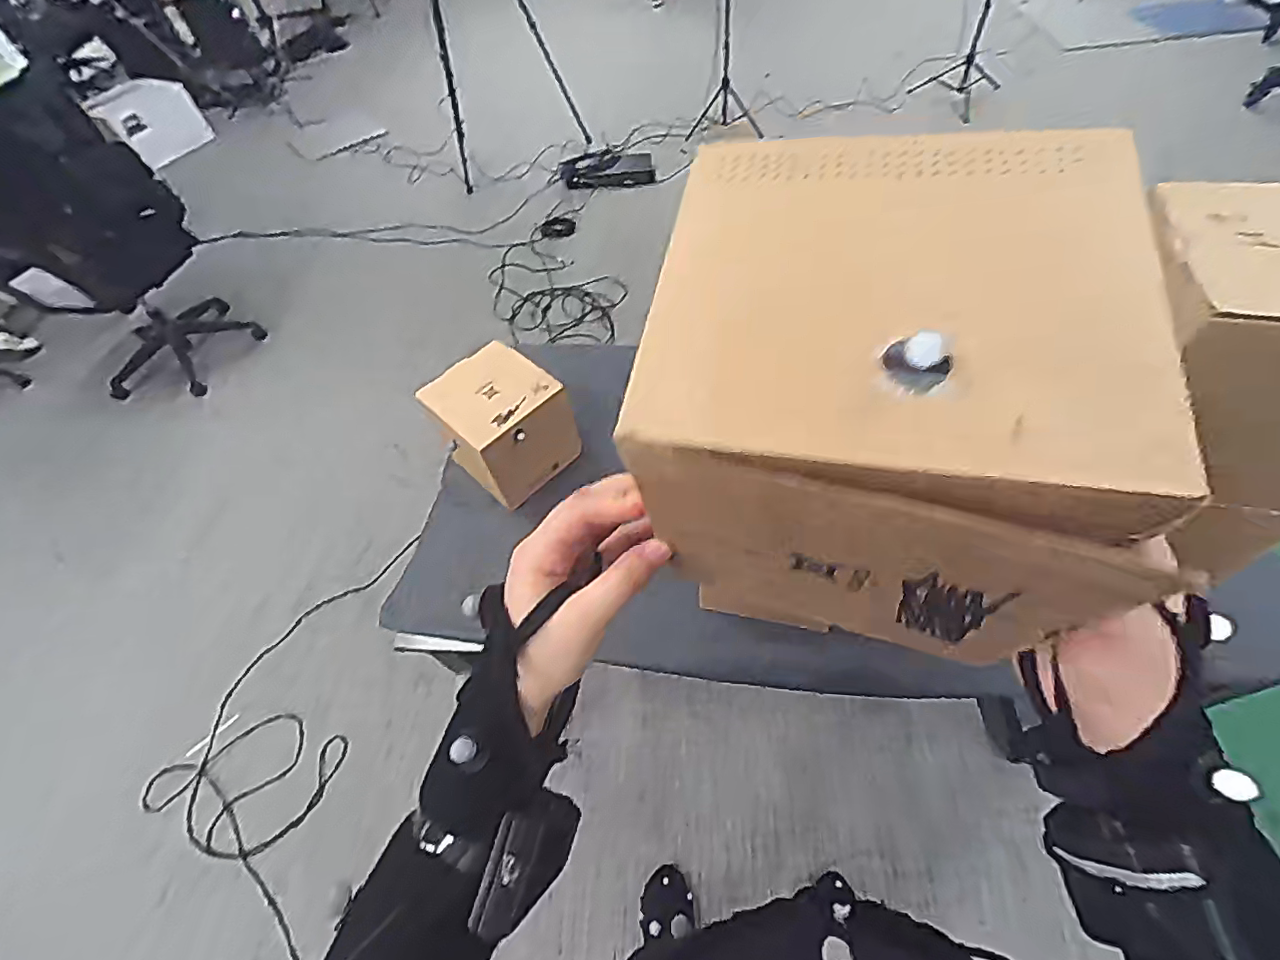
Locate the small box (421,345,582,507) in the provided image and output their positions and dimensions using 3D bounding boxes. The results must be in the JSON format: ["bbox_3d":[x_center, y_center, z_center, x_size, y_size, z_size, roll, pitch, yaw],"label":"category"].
[{"bbox_3d":[-0.222,-0.087,0.900,0.179,0.176,0.168,36,67,28],"label":"small box"}]

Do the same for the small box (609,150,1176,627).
[{"bbox_3d":[0.102,-0.038,0.275,0.179,0.168,0.176,7,66,16],"label":"small box"}]

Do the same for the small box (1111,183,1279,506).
[{"bbox_3d":[0.456,-0.098,0.411,0.179,0.176,0.168,10,55,16],"label":"small box"}]

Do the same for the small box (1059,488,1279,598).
[{"bbox_3d":[0.472,0.001,0.542,0.179,0.176,0.168,9,55,15],"label":"small box"}]

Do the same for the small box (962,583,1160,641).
[{"bbox_3d":[0.491,0.085,0.680,0.168,0.176,0.179,0,54,9],"label":"small box"}]
